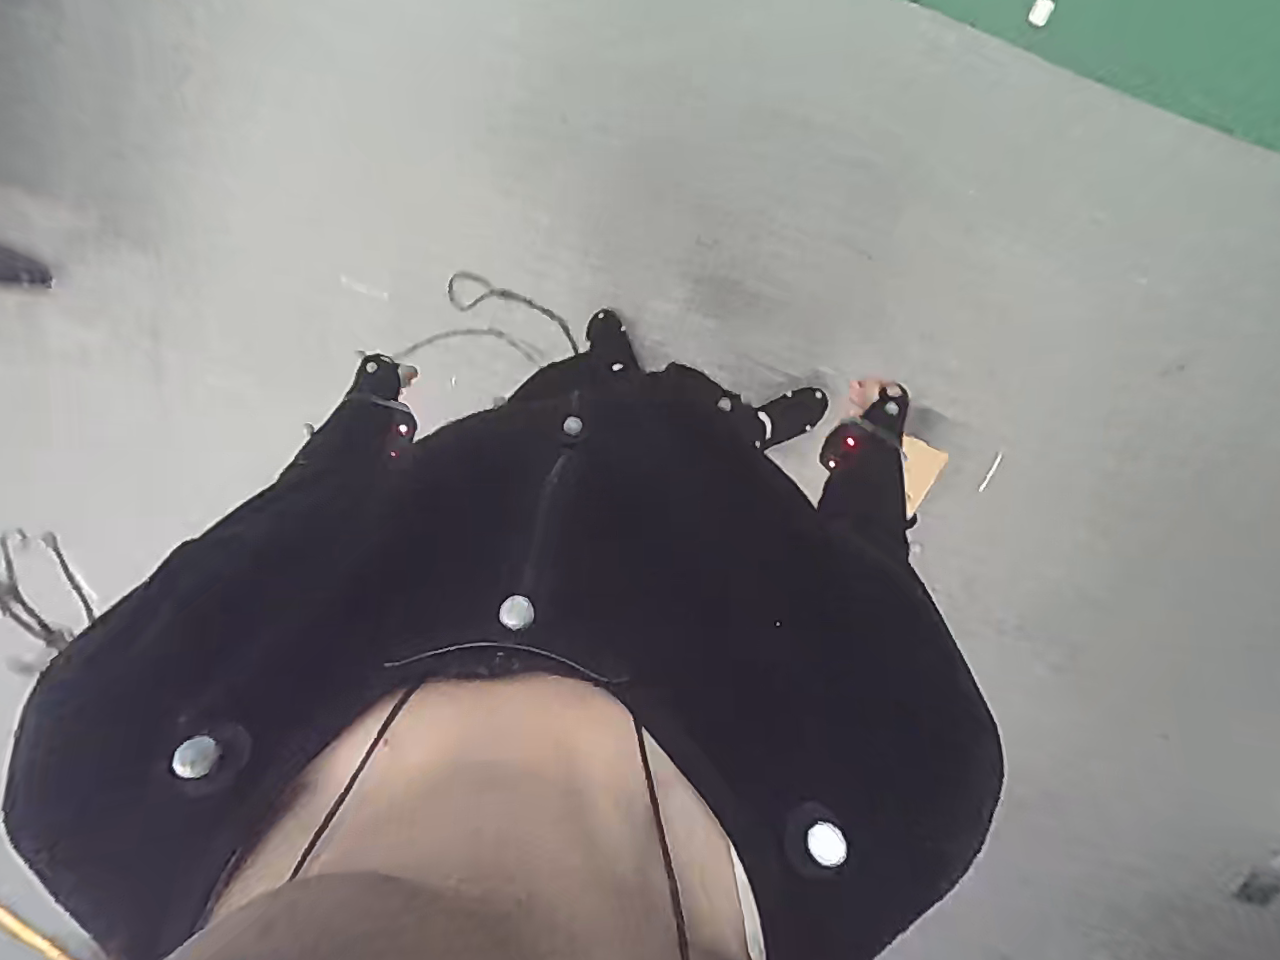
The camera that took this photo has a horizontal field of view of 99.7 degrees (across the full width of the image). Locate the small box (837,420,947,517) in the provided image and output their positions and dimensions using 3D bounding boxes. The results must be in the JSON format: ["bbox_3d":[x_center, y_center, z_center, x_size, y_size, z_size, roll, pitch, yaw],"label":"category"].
[{"bbox_3d":[0.632,-0.038,1.383,0.168,0.176,0.179,25,107,-3],"label":"small box"}]
